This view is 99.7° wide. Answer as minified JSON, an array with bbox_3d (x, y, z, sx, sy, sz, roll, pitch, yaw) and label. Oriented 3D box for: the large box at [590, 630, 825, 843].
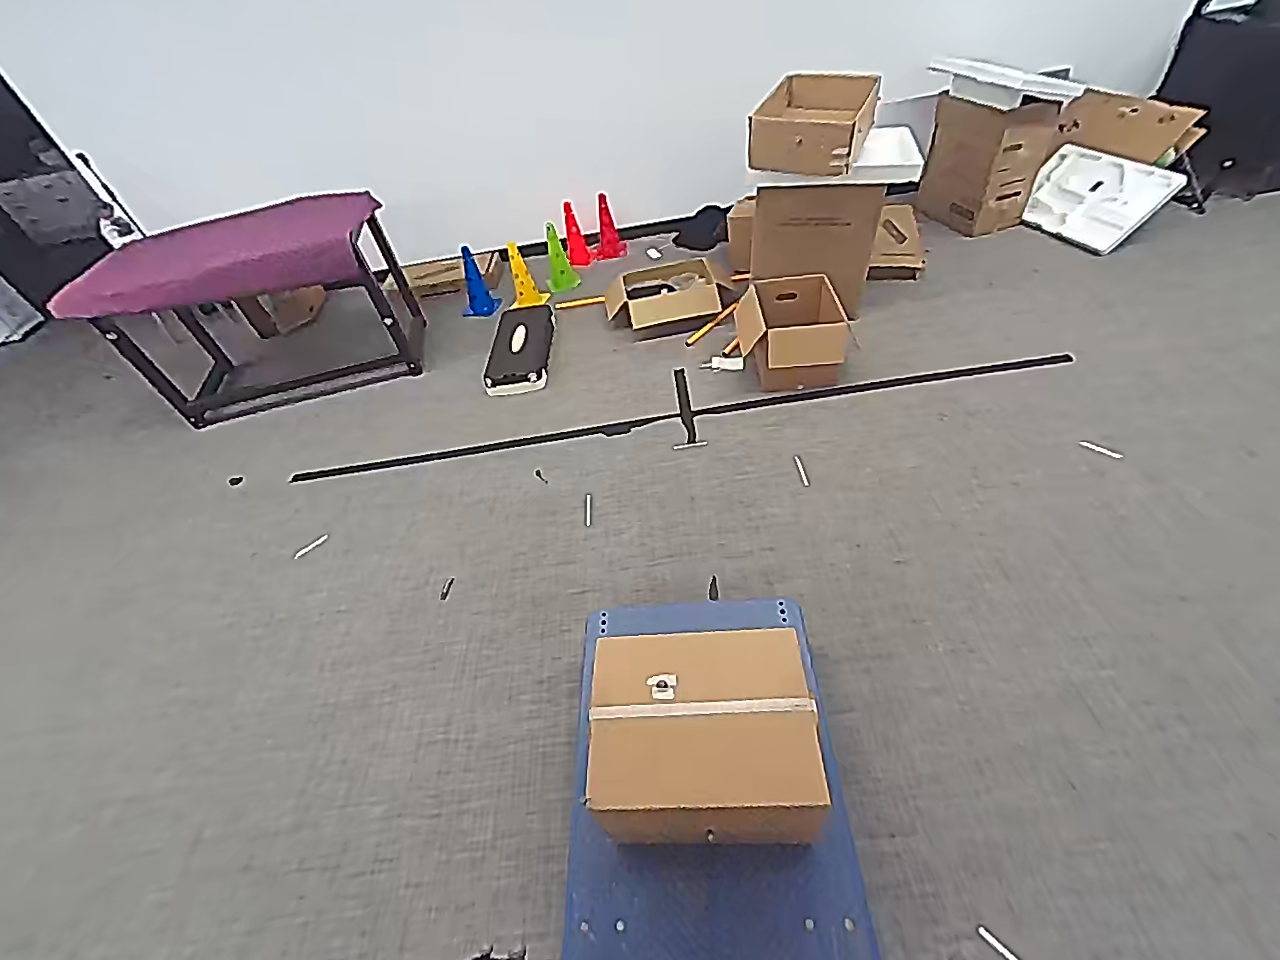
[{"bbox_3d":[0.132,0.536,1.115,0.408,0.320,0.320,-6,45,7],"label":"large box"}]
